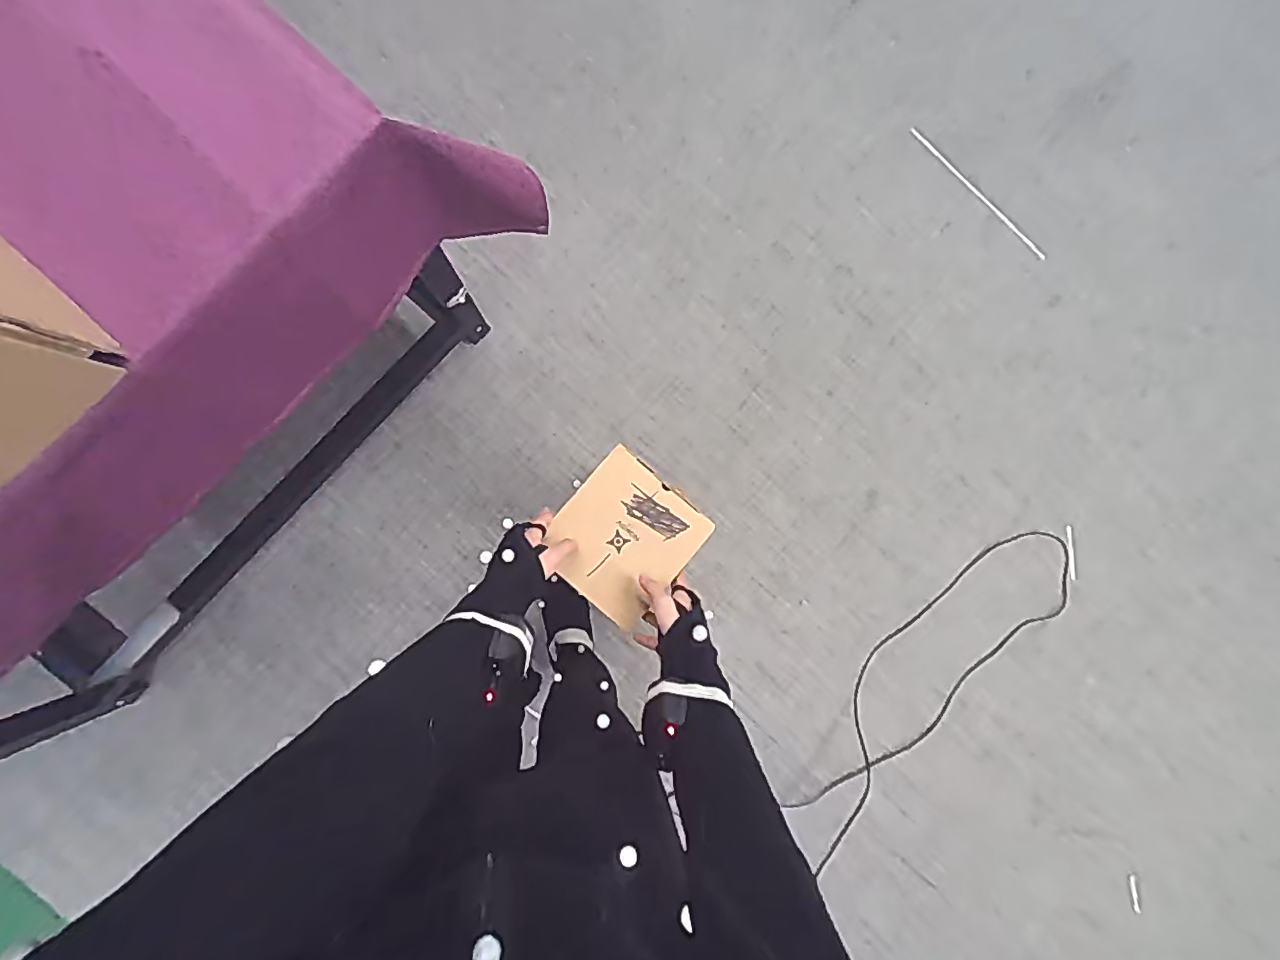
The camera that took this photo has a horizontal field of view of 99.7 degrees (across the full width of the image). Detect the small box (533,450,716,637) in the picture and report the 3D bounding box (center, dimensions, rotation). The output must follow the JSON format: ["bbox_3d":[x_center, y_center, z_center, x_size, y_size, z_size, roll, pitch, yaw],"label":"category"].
[{"bbox_3d":[-0.025,0.083,0.753,0.168,0.176,0.179,41,84,0],"label":"small box"}]
